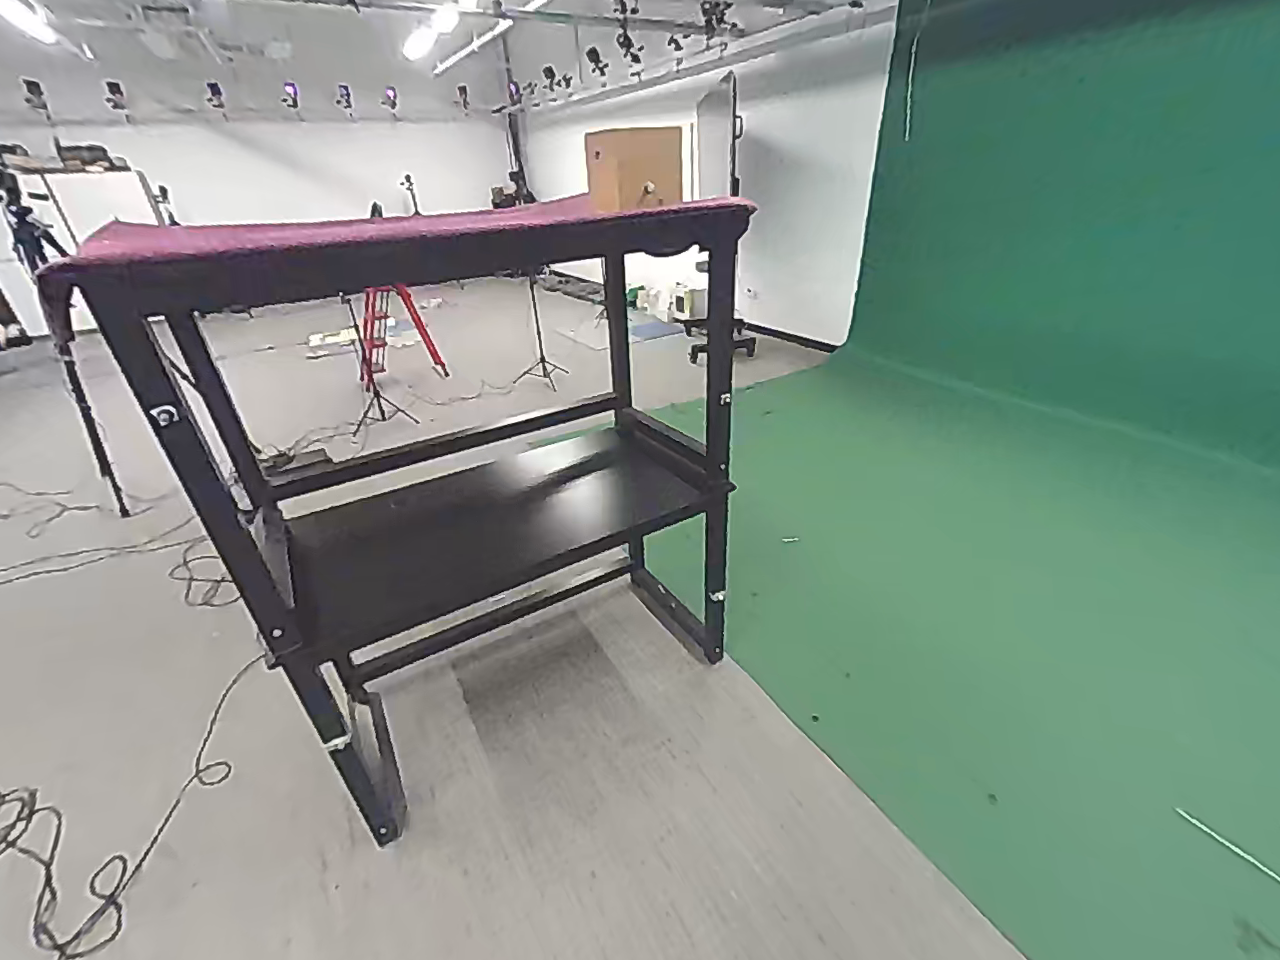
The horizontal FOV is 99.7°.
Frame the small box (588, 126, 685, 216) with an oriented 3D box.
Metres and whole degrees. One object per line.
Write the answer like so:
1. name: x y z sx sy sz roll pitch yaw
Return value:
1. small box: -0.008 -0.707 1.244 0.168 0.176 0.179 -17 33 -21
